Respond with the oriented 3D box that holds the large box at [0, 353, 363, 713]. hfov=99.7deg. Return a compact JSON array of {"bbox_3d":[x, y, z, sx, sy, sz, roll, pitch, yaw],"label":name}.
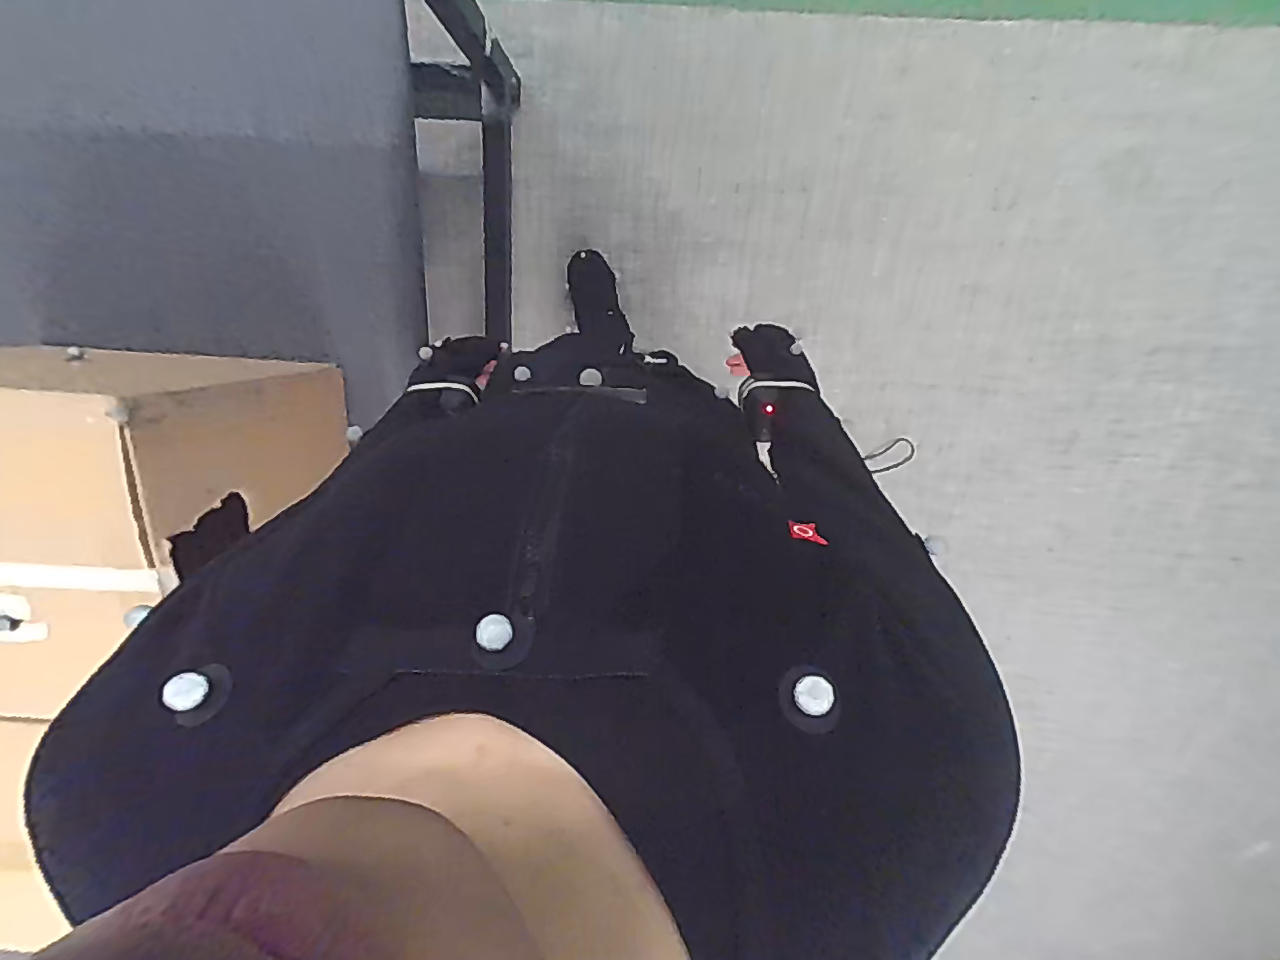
[{"bbox_3d":[-0.595,0.024,0.605,0.408,0.320,0.320,3,107,0],"label":"large box"}]
